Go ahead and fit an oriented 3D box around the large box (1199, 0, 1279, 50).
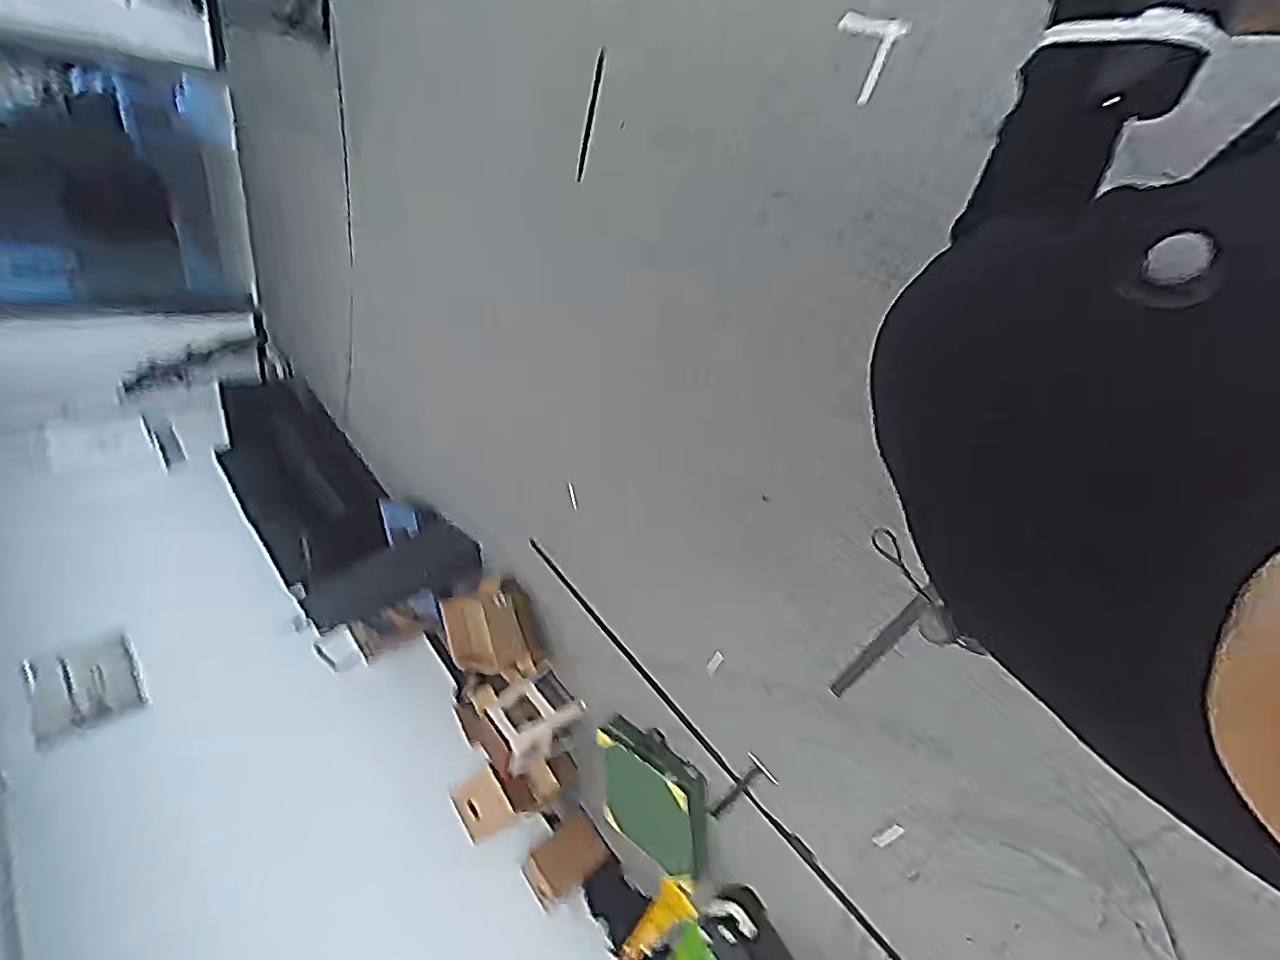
[{"bbox_3d":[0.577,-0.405,0.224,0.408,0.320,0.320,29,132,35],"label":"large box"}]
